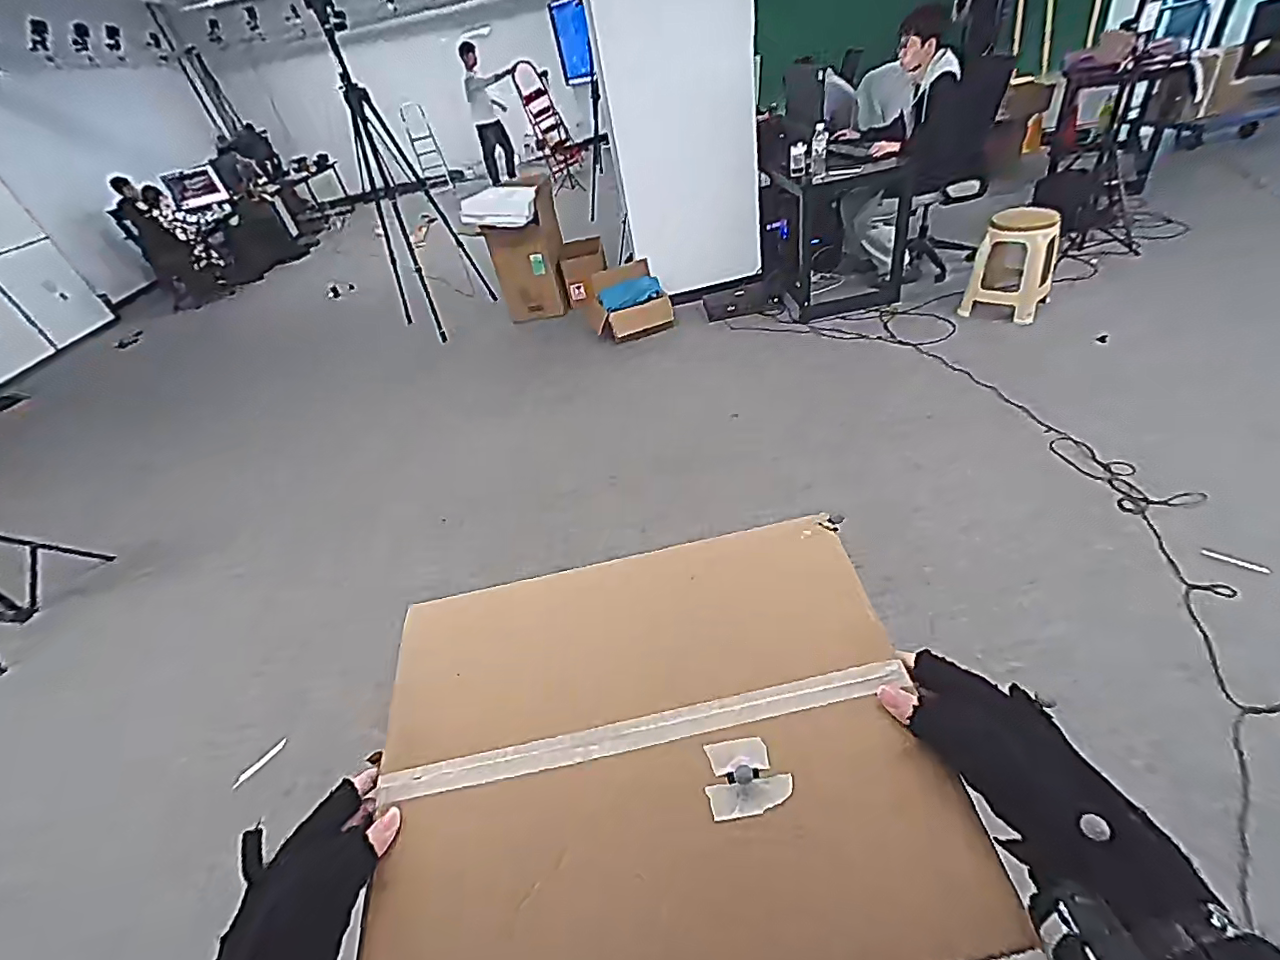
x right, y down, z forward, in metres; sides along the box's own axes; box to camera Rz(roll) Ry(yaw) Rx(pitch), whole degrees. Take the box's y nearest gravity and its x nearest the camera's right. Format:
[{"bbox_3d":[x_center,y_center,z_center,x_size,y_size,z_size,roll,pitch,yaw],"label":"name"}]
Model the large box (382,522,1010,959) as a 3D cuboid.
[{"bbox_3d":[0.028,0.293,0.531,0.408,0.320,0.320,-13,49,0],"label":"large box"}]
